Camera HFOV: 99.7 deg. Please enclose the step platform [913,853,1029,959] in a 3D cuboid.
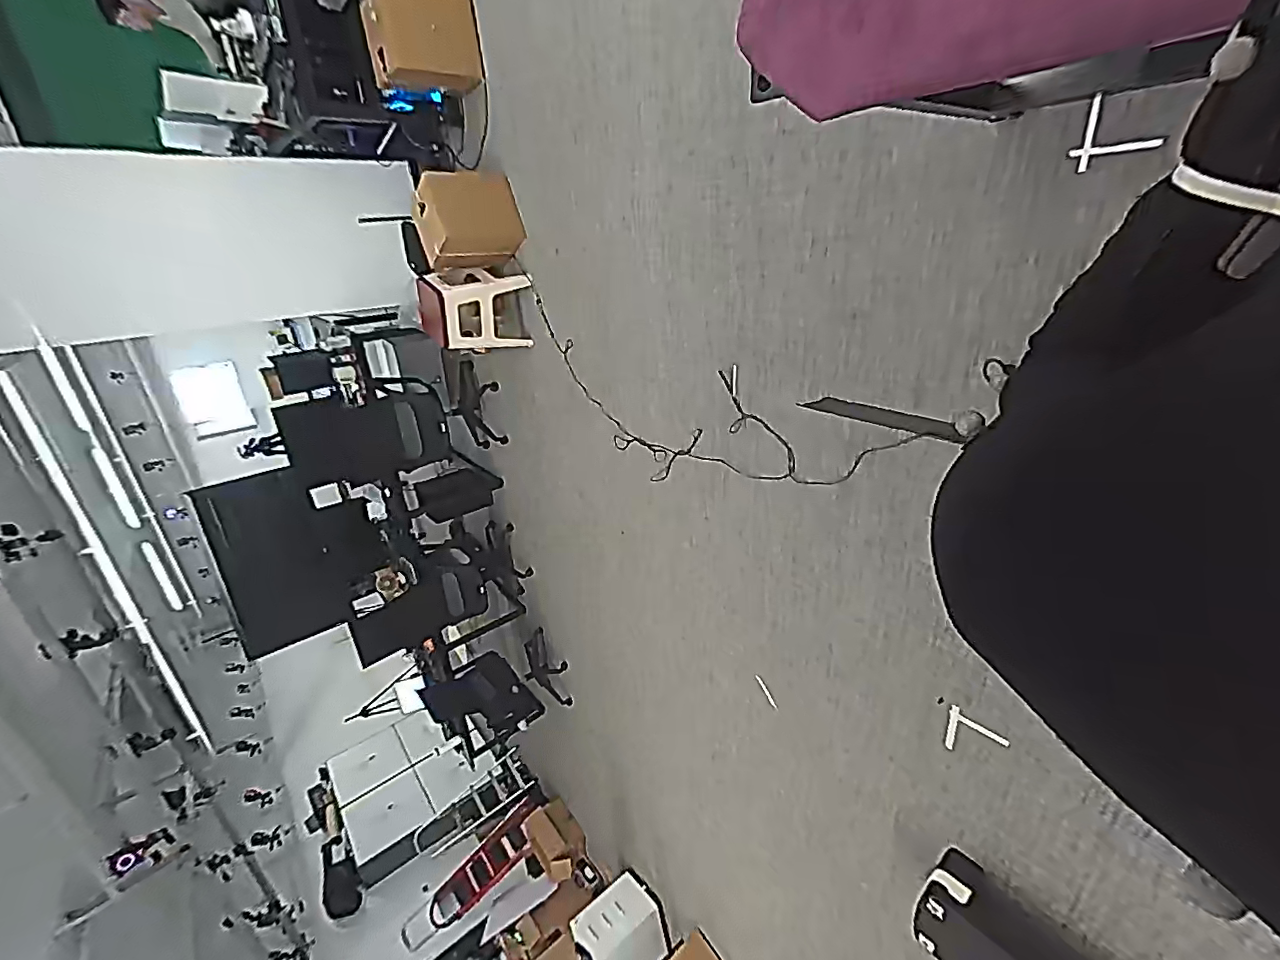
[{"bbox_3d":[1.166,1.476,1.566,0.684,0.204,0.286,24,127,46],"label":"step platform"}]
